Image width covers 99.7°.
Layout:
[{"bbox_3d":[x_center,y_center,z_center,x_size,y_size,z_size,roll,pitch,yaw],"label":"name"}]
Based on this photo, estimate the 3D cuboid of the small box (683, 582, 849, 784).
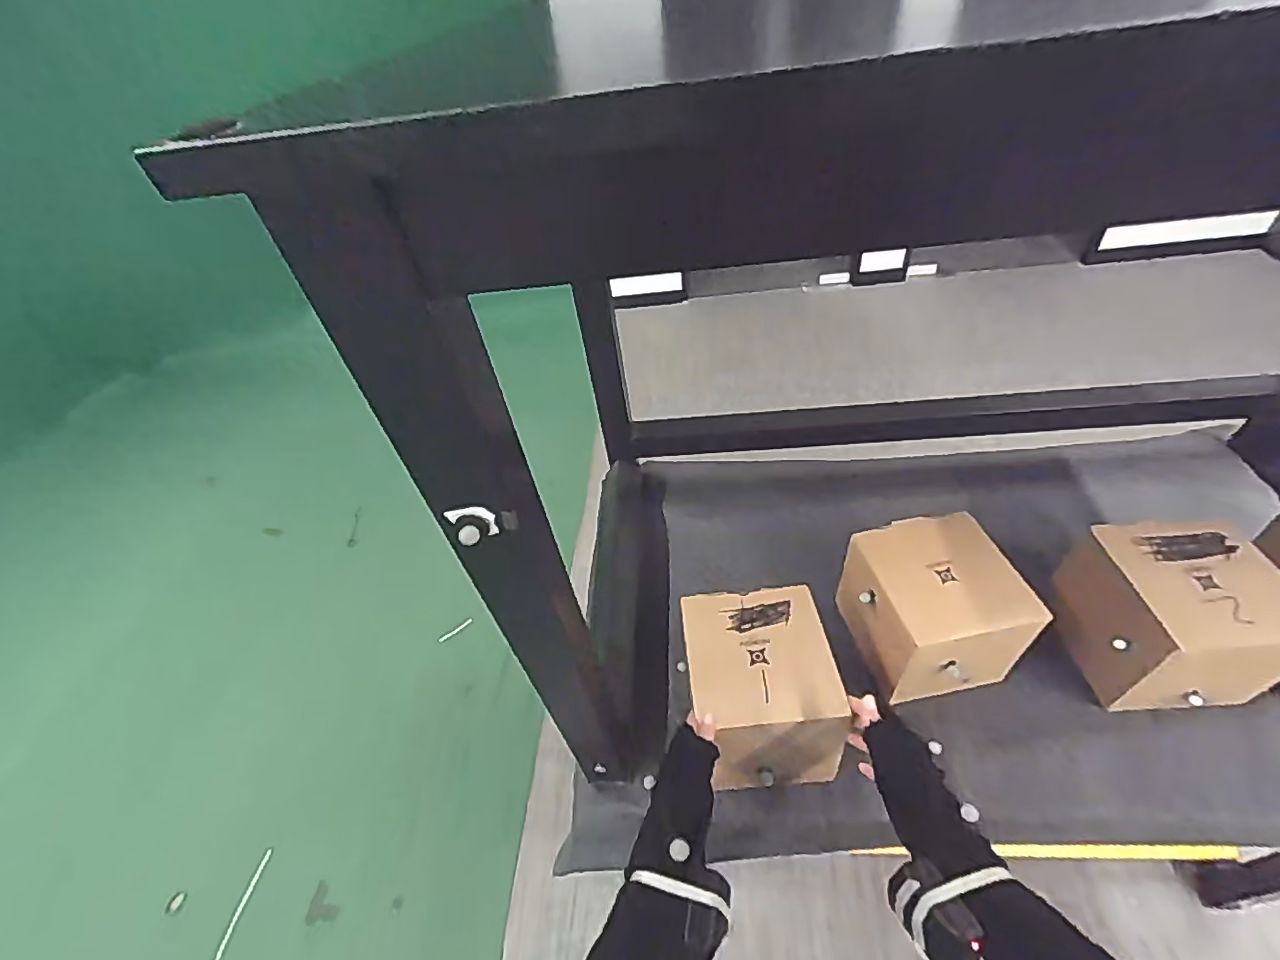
[{"bbox_3d":[0.144,0.255,0.682,0.168,0.176,0.179,-7,41,3],"label":"small box"}]
